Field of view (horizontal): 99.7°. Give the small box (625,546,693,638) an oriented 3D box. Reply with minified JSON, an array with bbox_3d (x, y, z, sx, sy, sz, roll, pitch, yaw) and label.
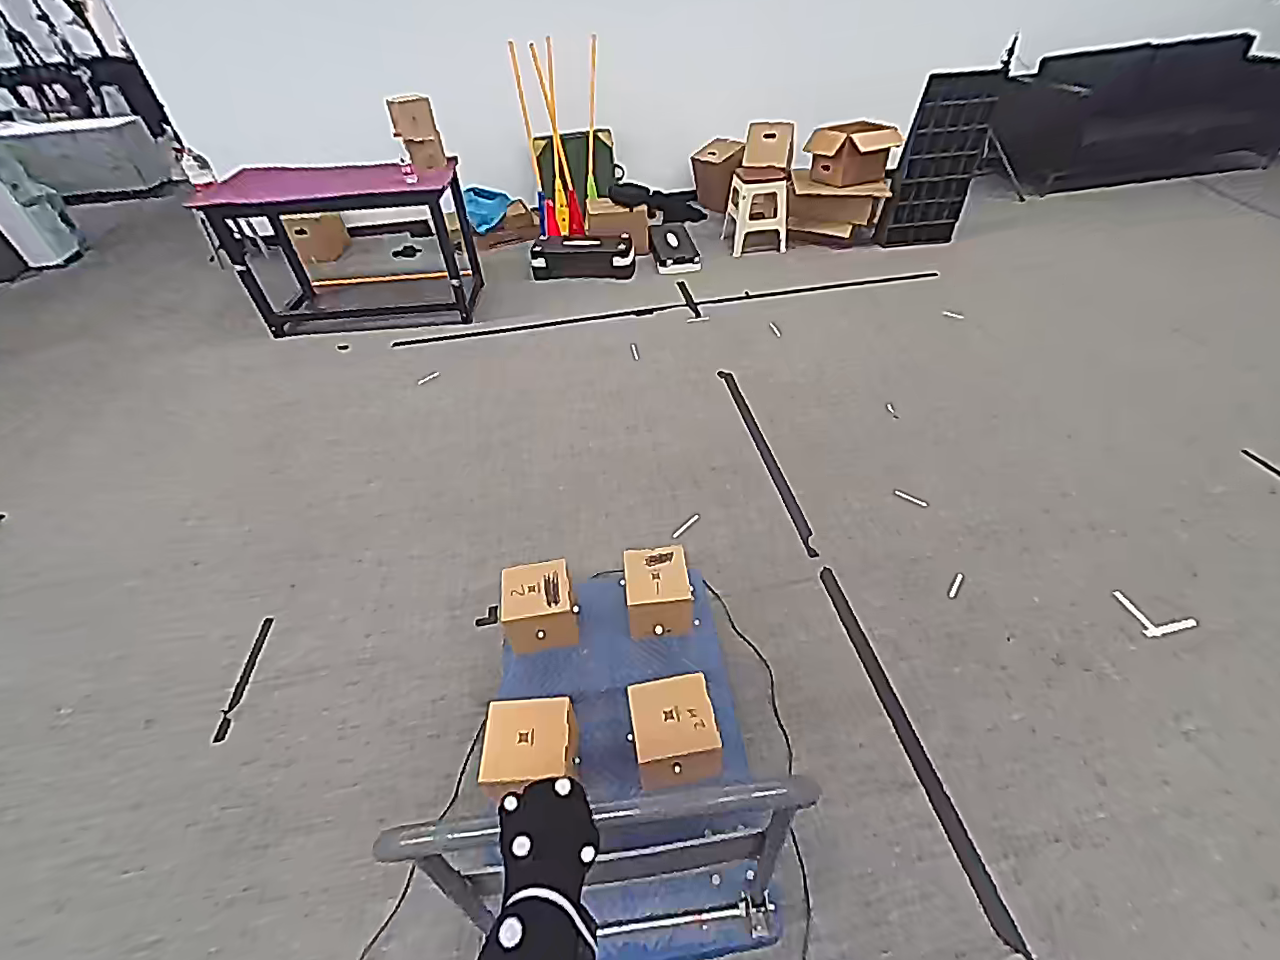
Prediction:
[{"bbox_3d":[0.048,0.304,1.468,0.168,0.176,0.179,-6,45,-2],"label":"small box"}]

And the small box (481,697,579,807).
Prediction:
[{"bbox_3d":[-0.231,0.596,1.181,0.179,0.176,0.168,-3,43,-2],"label":"small box"}]

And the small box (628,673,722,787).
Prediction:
[{"bbox_3d":[0.076,0.557,1.199,0.179,0.176,0.168,-9,44,-5],"label":"small box"}]
